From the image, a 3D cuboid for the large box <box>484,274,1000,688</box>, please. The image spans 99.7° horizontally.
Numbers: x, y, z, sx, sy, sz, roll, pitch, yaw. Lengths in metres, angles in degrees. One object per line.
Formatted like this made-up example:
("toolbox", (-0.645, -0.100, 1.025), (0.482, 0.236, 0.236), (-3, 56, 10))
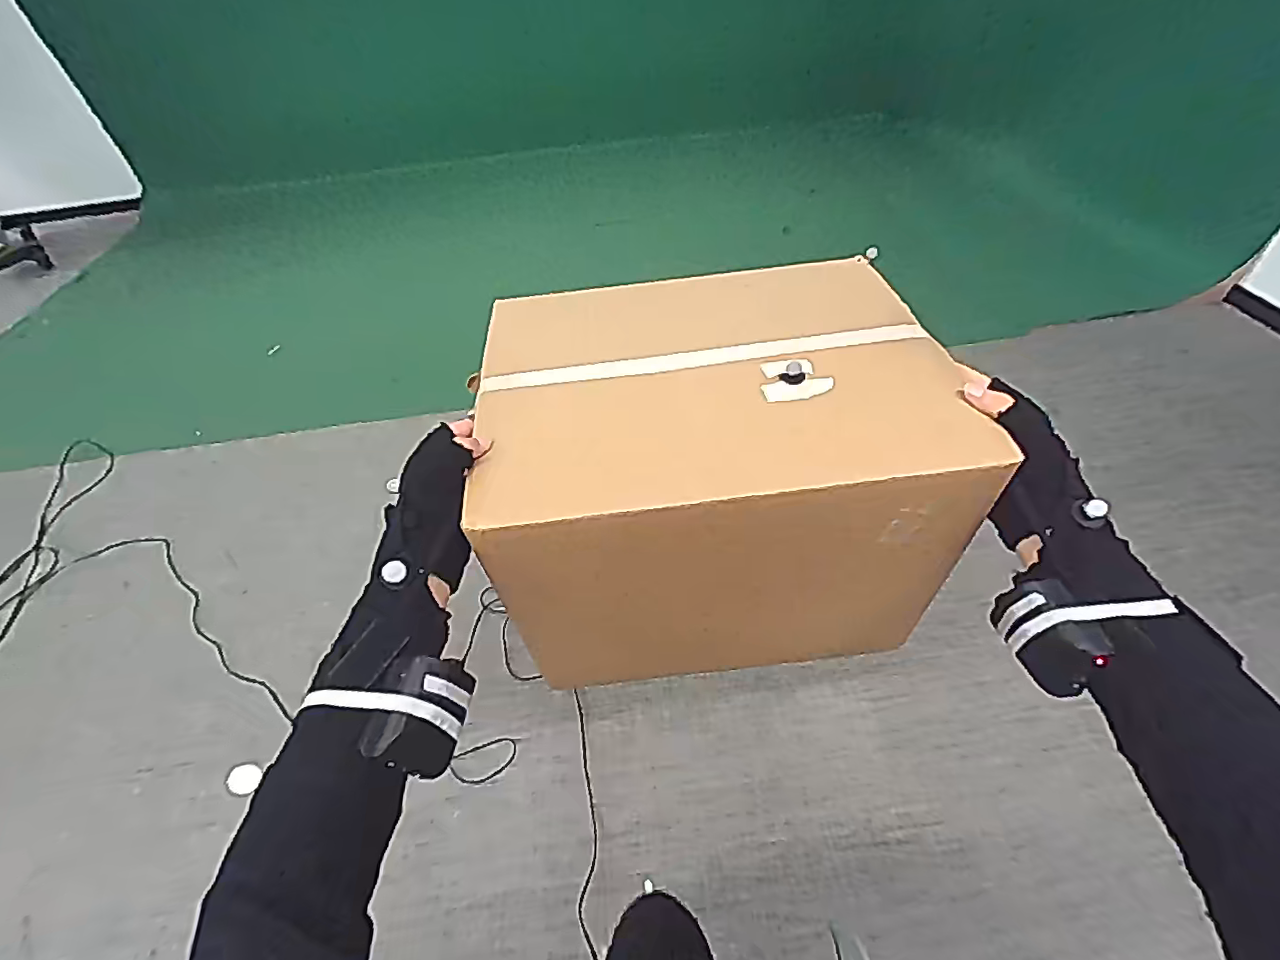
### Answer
("large box", (0.071, 0.005, 0.611), (0.408, 0.320, 0.320), (-7, 49, -1))
